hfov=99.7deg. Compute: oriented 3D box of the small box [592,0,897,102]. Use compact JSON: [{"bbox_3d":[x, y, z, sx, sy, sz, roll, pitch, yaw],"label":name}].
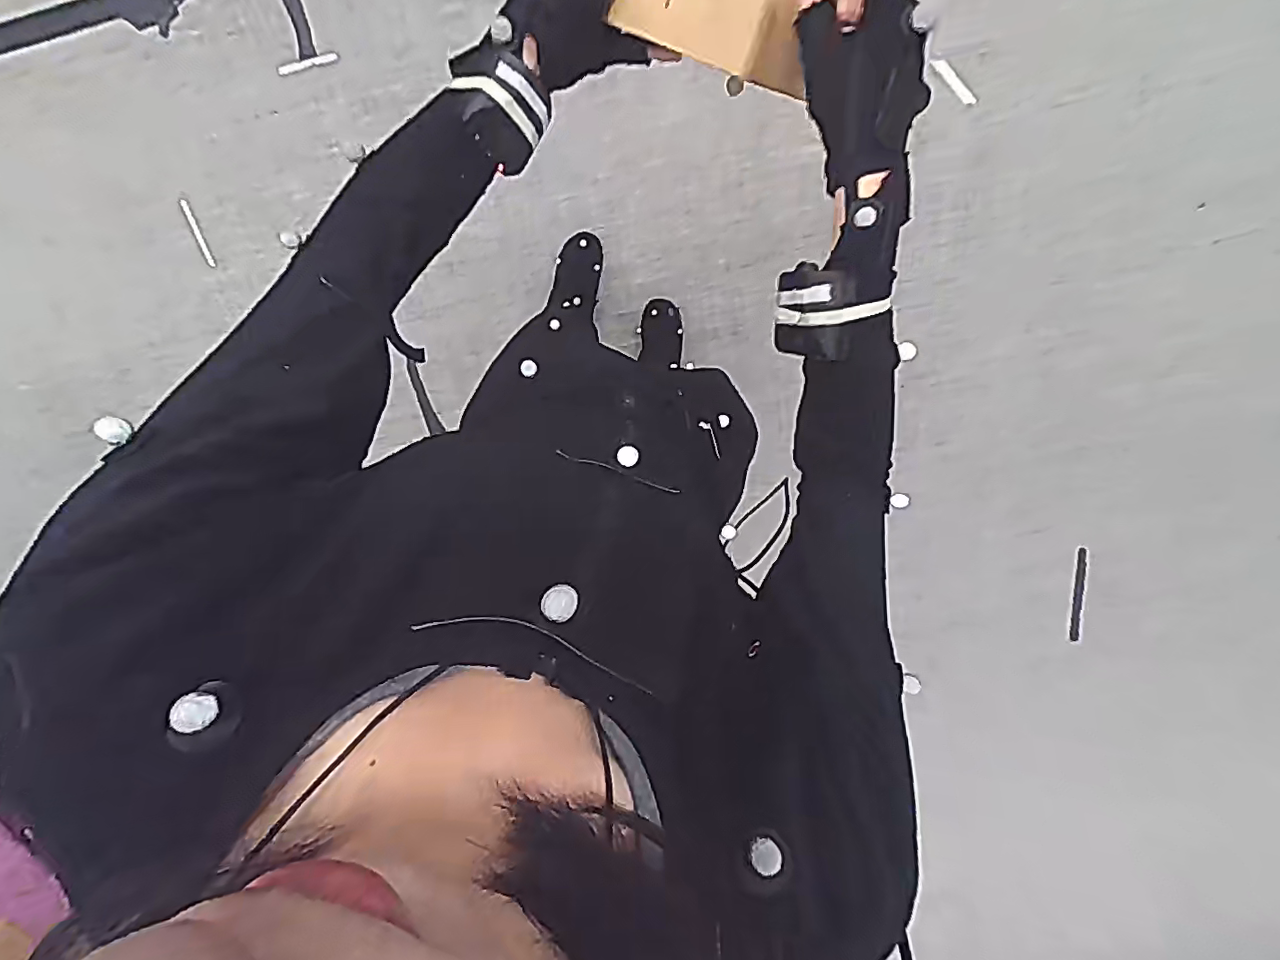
[{"bbox_3d":[0.095,-0.408,0.390,0.168,0.176,0.179,44,135,26],"label":"small box"}]
